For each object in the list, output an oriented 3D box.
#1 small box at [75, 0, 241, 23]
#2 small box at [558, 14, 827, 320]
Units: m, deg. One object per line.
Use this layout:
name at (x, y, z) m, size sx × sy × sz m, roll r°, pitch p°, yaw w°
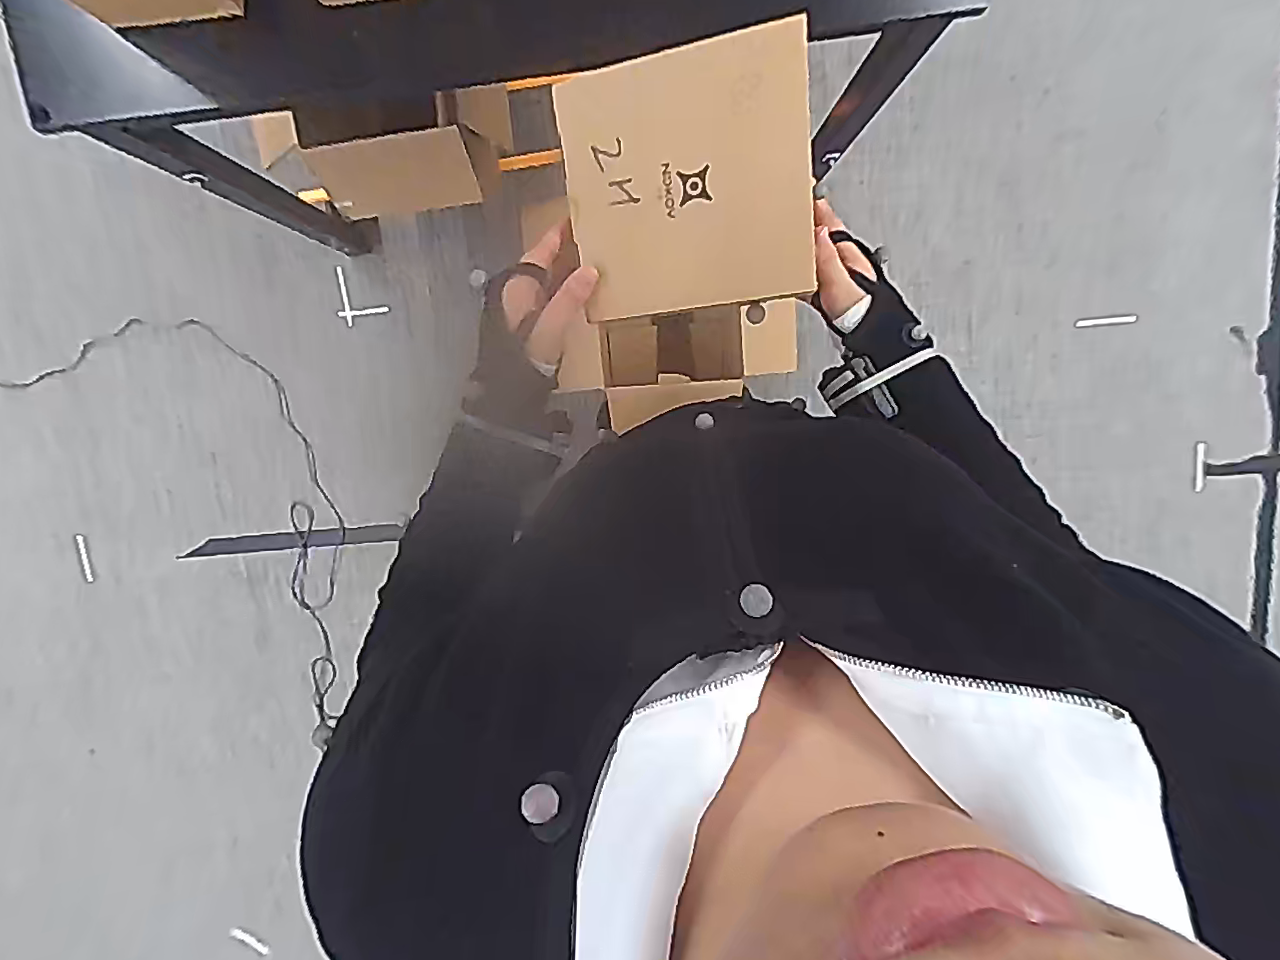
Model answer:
small box at (-0.575, -0.626, 0.569) m, size 0.179 × 0.176 × 0.168 m, roll -5°, pitch 100°, yaw 0°
small box at (0.054, -0.229, 0.446) m, size 0.179 × 0.176 × 0.168 m, roll -3°, pitch 107°, yaw 15°
